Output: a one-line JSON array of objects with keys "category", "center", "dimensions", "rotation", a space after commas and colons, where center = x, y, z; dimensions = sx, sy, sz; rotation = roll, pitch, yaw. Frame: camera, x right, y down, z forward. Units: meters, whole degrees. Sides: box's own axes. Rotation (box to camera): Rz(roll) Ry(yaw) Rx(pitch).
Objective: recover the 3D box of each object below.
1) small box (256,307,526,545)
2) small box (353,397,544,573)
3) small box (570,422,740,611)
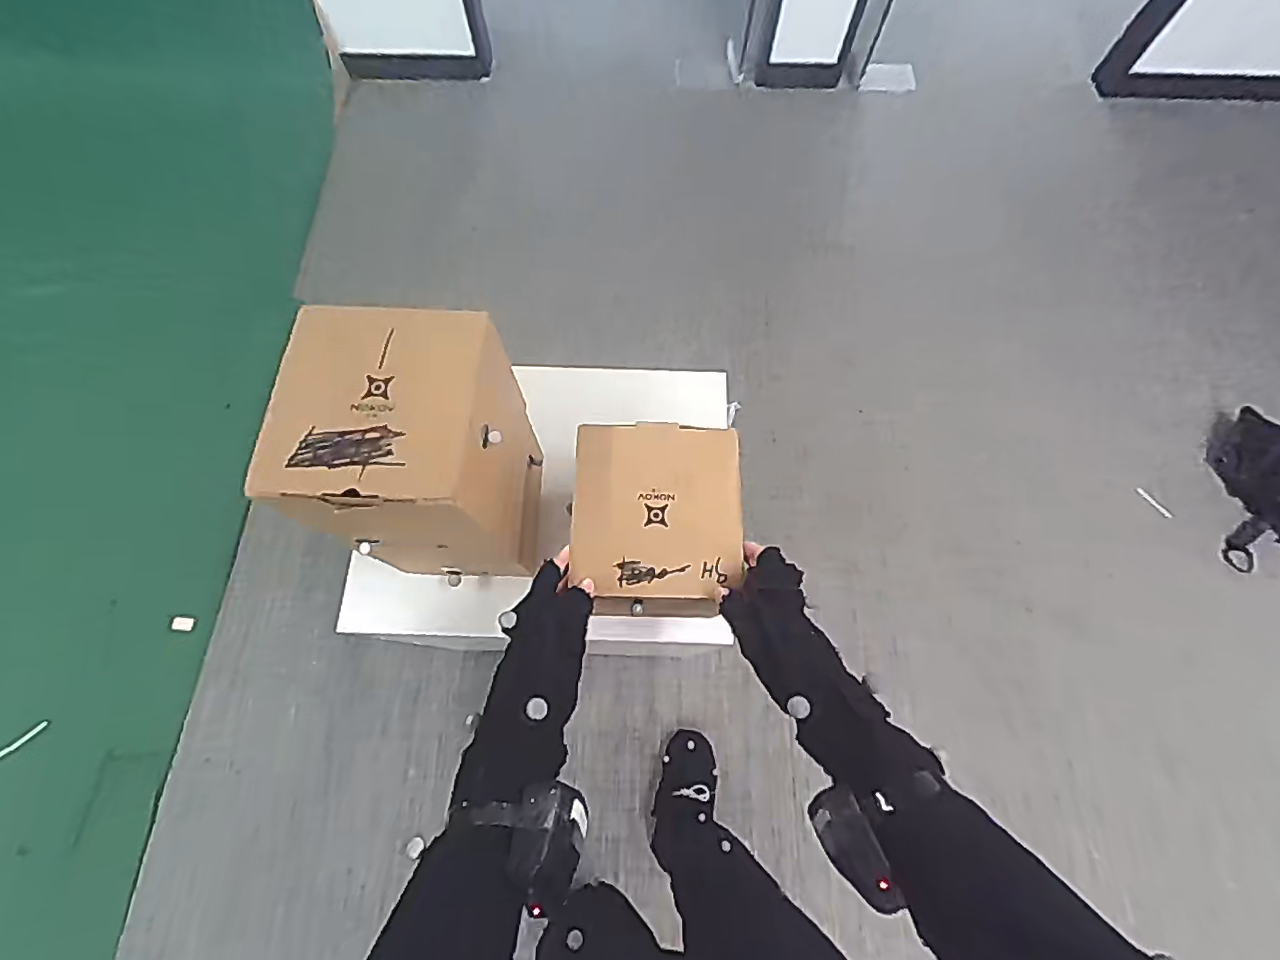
[{"category": "small box", "center": [-0.214, -0.041, 0.523], "dimensions": [0.168, 0.176, 0.179], "rotation": [3, 68, 1]}, {"category": "small box", "center": [-0.216, 0.011, 0.662], "dimensions": [0.168, 0.176, 0.179], "rotation": [0, 71, 0]}, {"category": "small box", "center": [0.013, 0.050, 0.615], "dimensions": [0.168, 0.176, 0.179], "rotation": [1, 71, -1]}]
